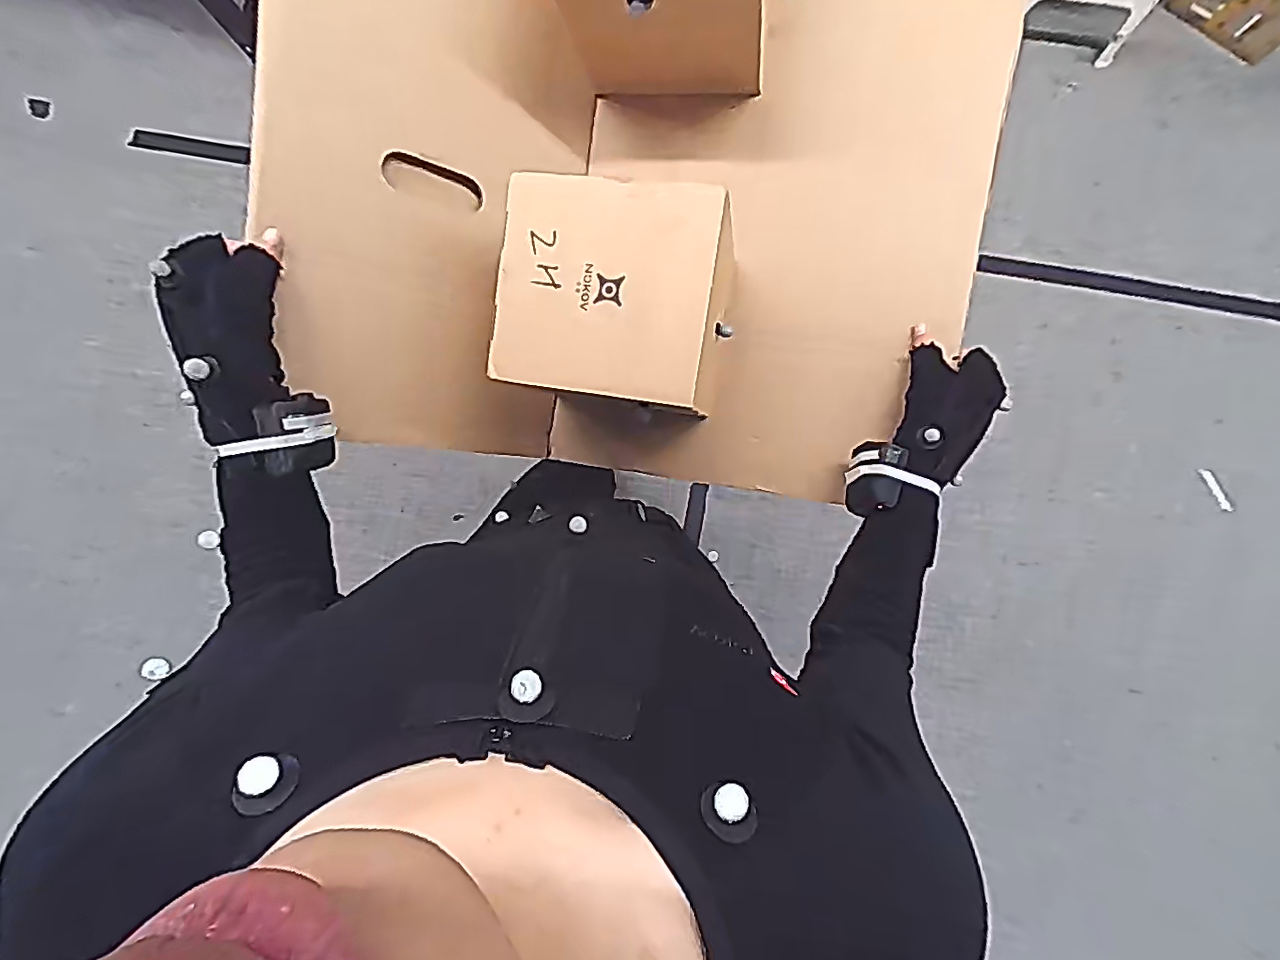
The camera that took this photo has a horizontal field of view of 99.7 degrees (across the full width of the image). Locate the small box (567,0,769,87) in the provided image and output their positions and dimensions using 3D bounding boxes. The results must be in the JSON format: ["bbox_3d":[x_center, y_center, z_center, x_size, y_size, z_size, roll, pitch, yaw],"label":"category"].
[{"bbox_3d":[0.027,-0.484,0.478,0.179,0.176,0.168,8,96,11],"label":"small box"}]

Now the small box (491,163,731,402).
[{"bbox_3d":[-0.014,-0.168,0.510,0.179,0.176,0.168,10,96,11],"label":"small box"}]
